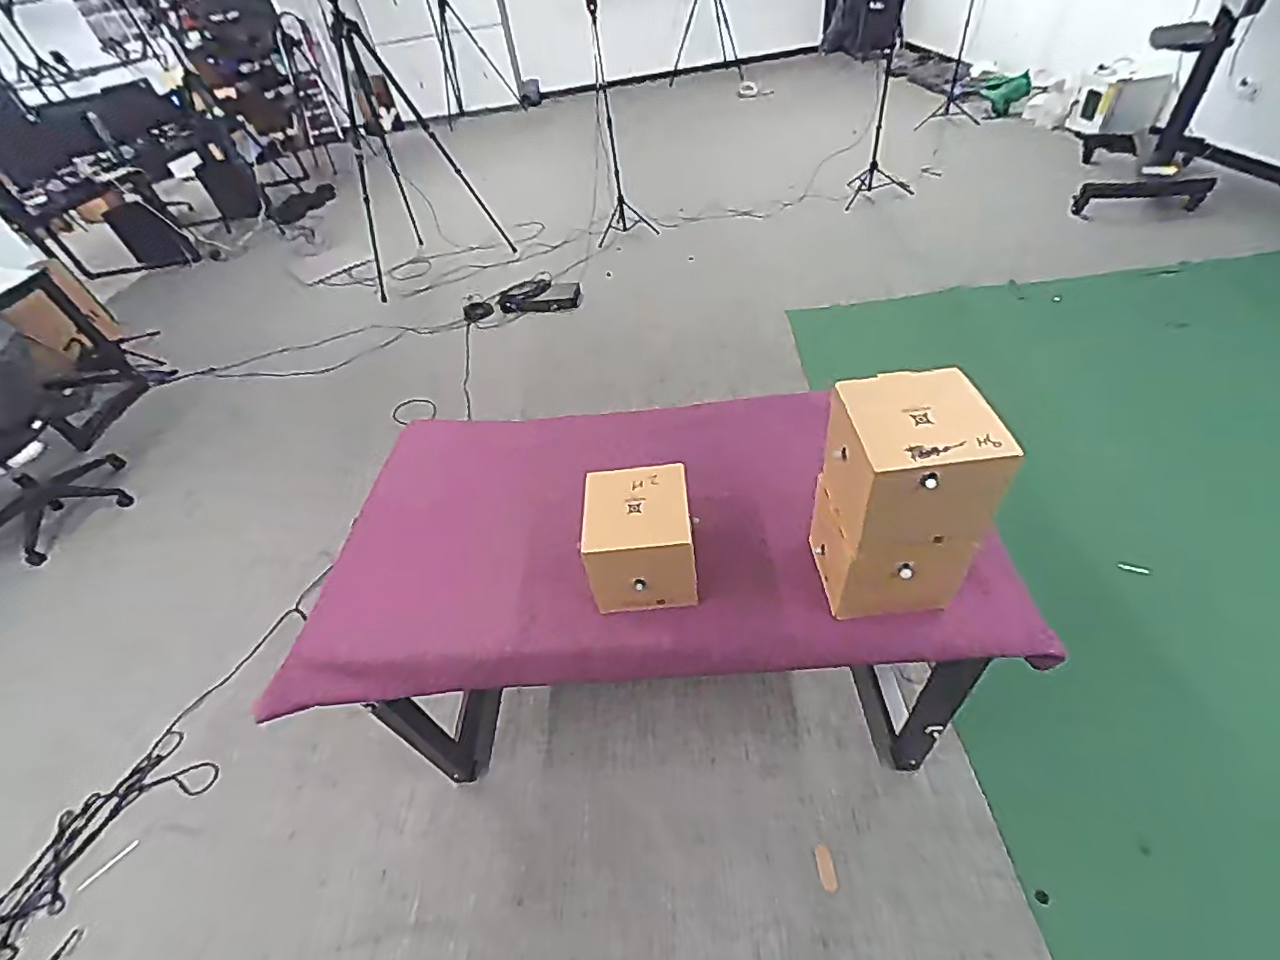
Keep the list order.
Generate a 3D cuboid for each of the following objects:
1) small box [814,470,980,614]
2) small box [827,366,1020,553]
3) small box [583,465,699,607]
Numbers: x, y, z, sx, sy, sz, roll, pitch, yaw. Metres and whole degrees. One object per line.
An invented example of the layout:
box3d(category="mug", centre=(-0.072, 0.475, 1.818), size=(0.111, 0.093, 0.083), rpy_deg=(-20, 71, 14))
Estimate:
box3d(category="small box", centre=(0.381, 0.089, 0.841), size=(0.179, 0.176, 0.168), rpy_deg=(-9, 45, 6))
box3d(category="small box", centre=(0.357, -0.026, 0.727), size=(0.168, 0.176, 0.179), rpy_deg=(-9, 45, 7))
box3d(category="small box", centre=(0.007, 0.100, 0.910), size=(0.168, 0.176, 0.179), rpy_deg=(-6, 44, 5))
